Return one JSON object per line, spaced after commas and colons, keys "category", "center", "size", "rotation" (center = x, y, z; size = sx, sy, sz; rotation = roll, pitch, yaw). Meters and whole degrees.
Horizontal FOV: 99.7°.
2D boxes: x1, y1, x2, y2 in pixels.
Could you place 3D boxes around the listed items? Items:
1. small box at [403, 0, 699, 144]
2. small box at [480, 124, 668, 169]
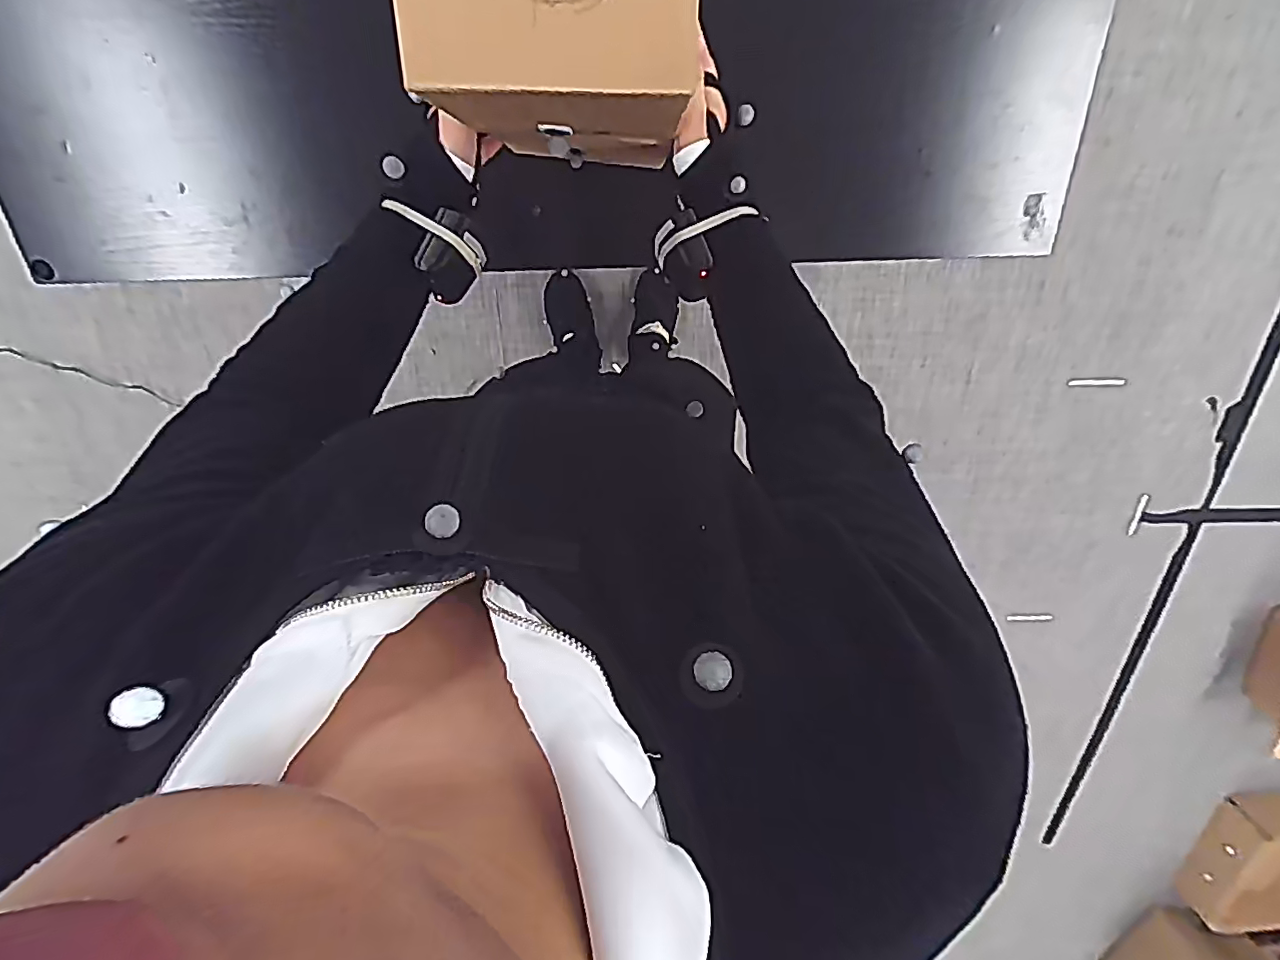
{"category": "small box", "center": [-0.049, -0.335, 0.353], "size": [0.168, 0.176, 0.179], "rotation": [1, 115, -1]}
{"category": "small box", "center": [-0.049, -0.402, 0.501], "size": [0.168, 0.176, 0.179], "rotation": [4, 113, -4]}
